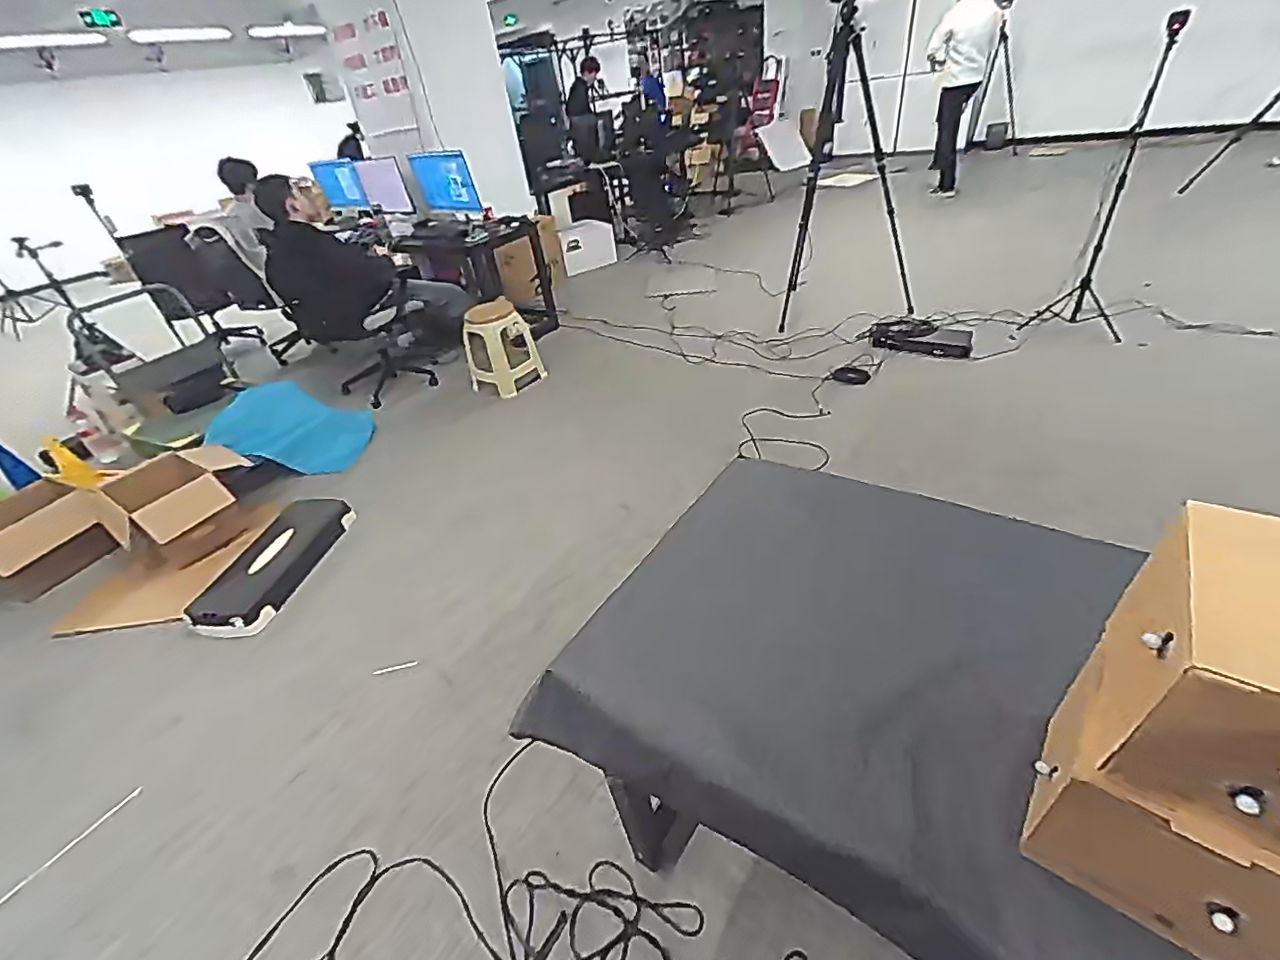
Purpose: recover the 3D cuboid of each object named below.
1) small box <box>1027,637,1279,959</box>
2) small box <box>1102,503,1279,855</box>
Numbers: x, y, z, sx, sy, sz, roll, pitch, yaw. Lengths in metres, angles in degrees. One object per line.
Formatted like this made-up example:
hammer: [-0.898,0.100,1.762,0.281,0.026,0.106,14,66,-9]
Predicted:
small box: [0.483,0.289,0.494,0.168,0.176,0.179,21,45,34]
small box: [0.476,0.151,0.399,0.168,0.176,0.179,17,48,31]
